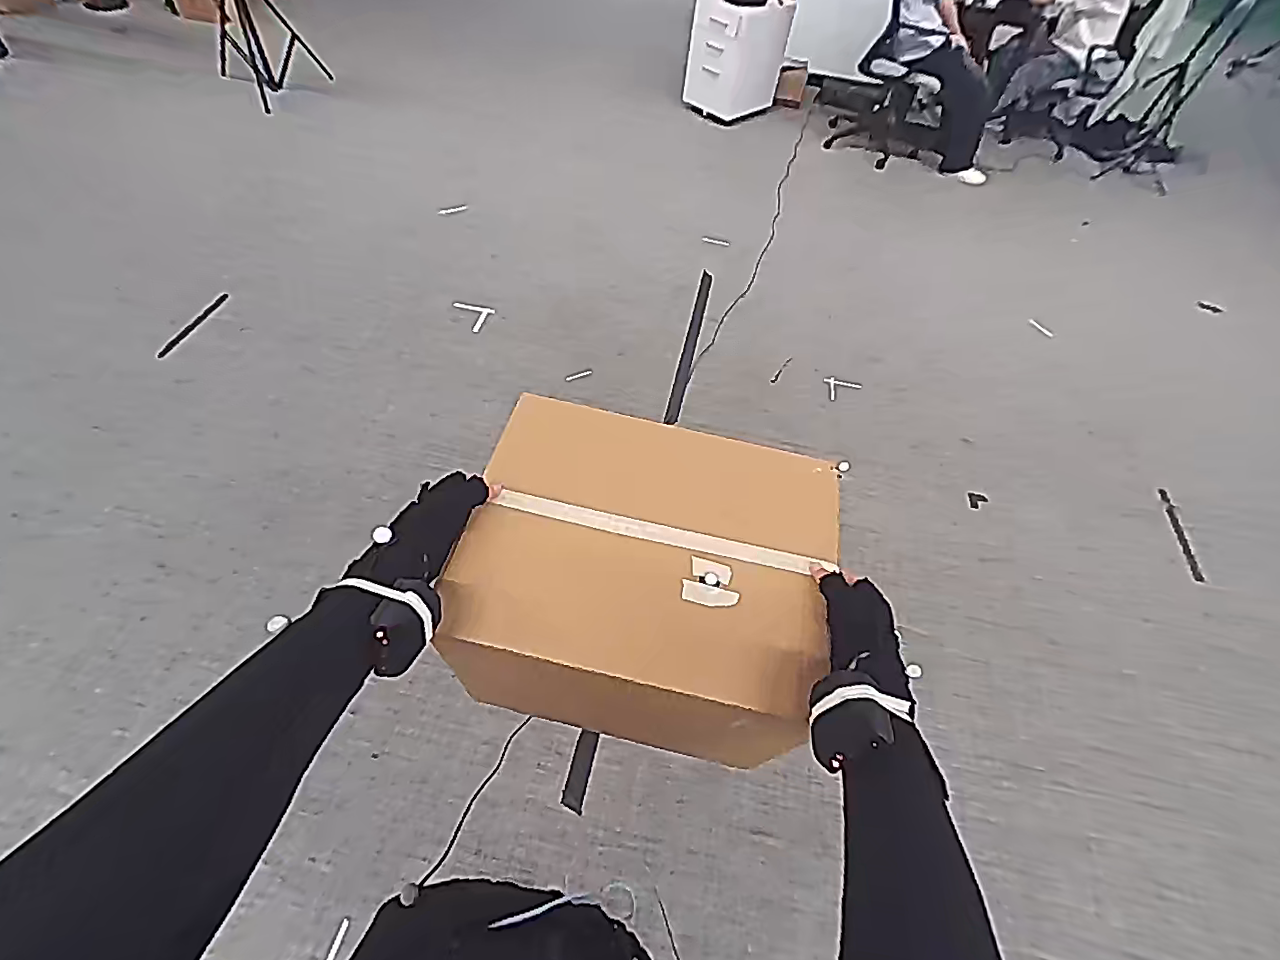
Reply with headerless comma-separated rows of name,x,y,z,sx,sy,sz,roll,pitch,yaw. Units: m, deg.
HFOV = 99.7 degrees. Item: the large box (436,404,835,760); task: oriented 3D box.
large box,0.005,0.147,0.725,0.408,0.320,0.320,13,57,2
